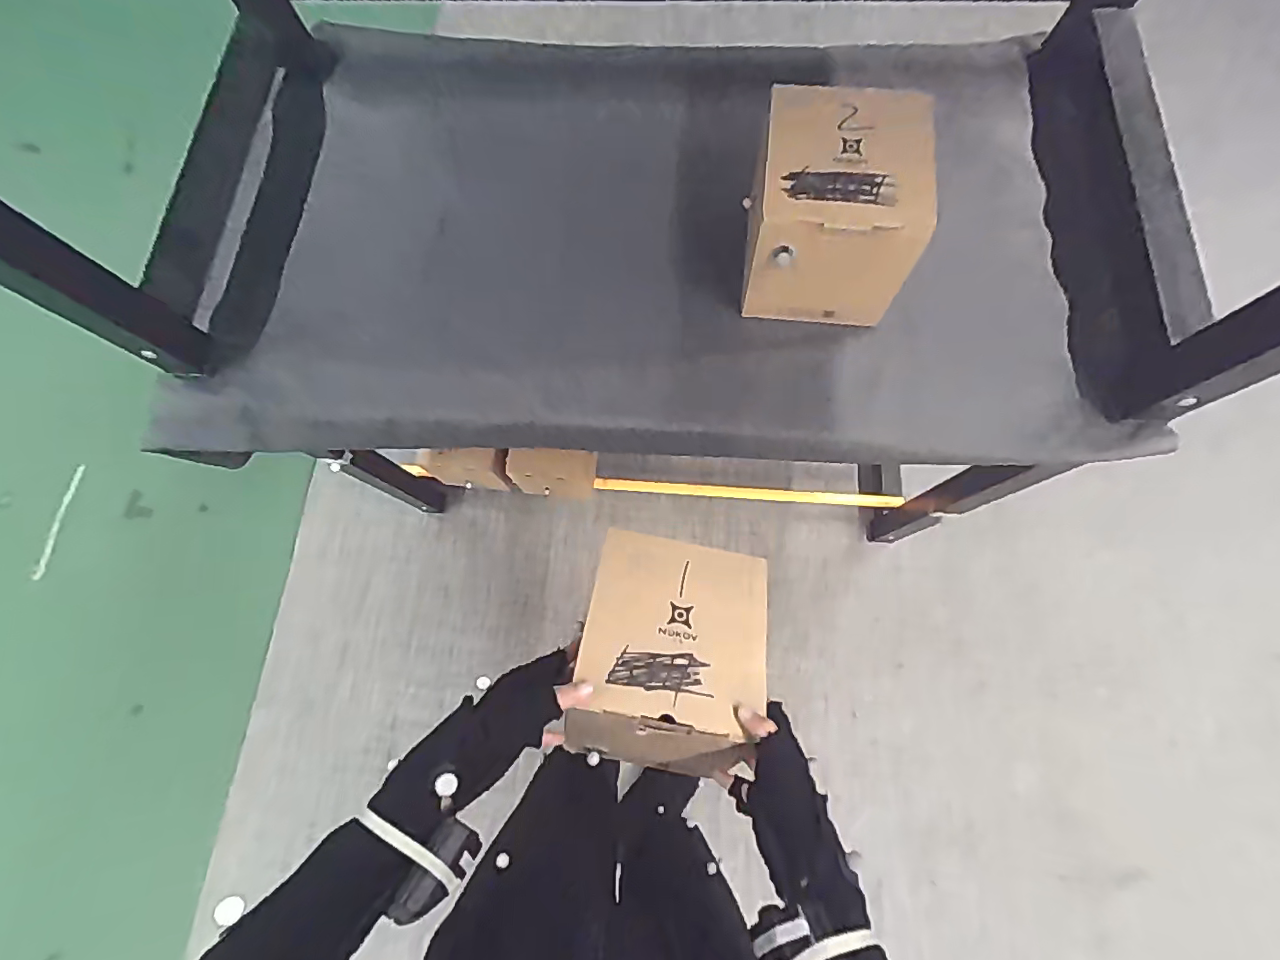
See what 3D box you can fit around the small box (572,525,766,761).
[{"bbox_3d":[0.028,0.178,0.572,0.168,0.176,0.179,12,51,0],"label":"small box"}]
